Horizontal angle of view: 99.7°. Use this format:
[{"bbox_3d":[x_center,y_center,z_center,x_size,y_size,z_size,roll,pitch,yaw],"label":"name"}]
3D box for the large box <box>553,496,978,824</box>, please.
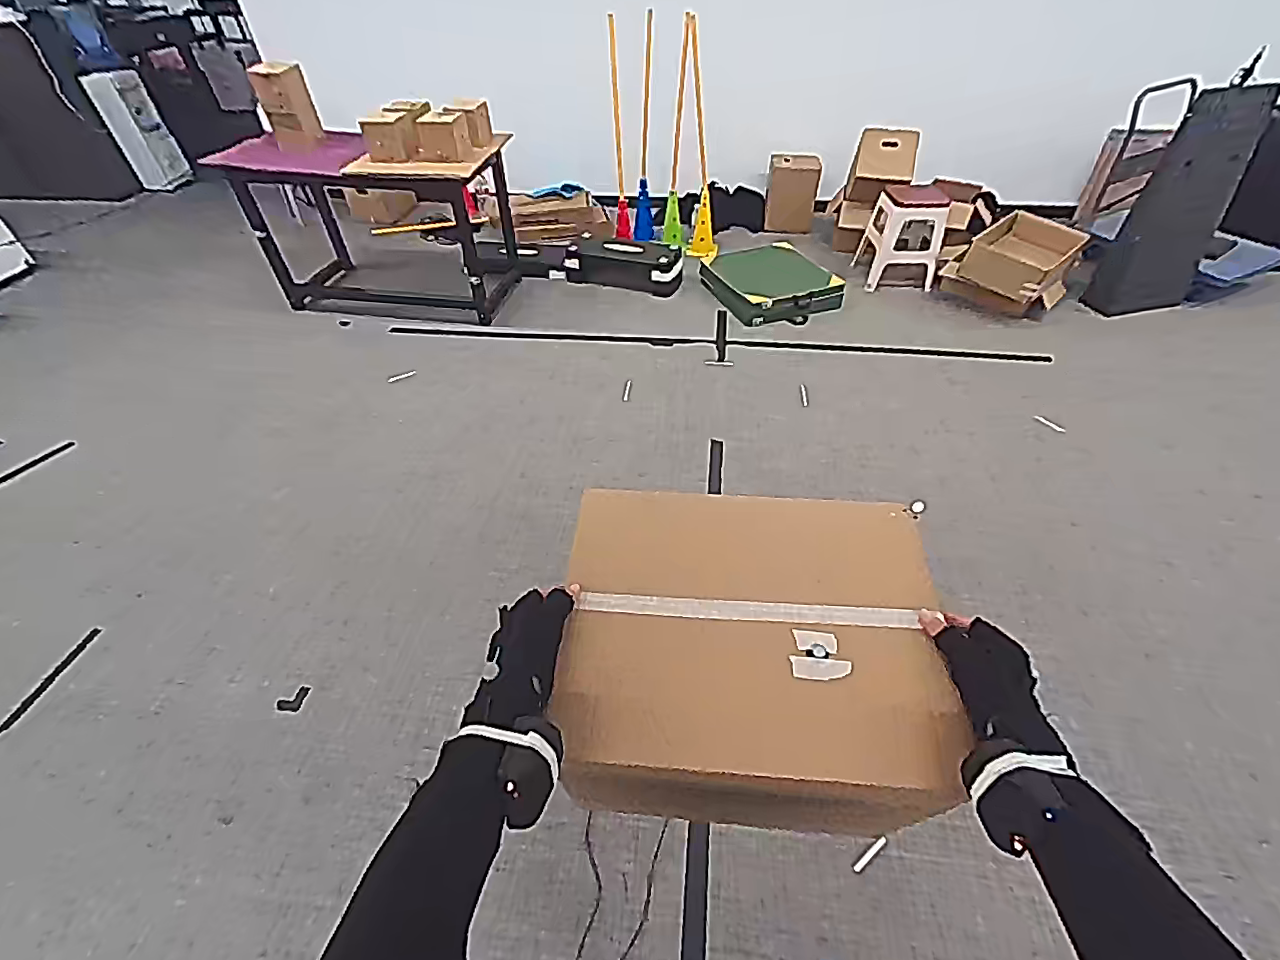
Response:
[{"bbox_3d":[0.124,0.239,0.710,0.408,0.320,0.320,3,52,4],"label":"large box"}]
